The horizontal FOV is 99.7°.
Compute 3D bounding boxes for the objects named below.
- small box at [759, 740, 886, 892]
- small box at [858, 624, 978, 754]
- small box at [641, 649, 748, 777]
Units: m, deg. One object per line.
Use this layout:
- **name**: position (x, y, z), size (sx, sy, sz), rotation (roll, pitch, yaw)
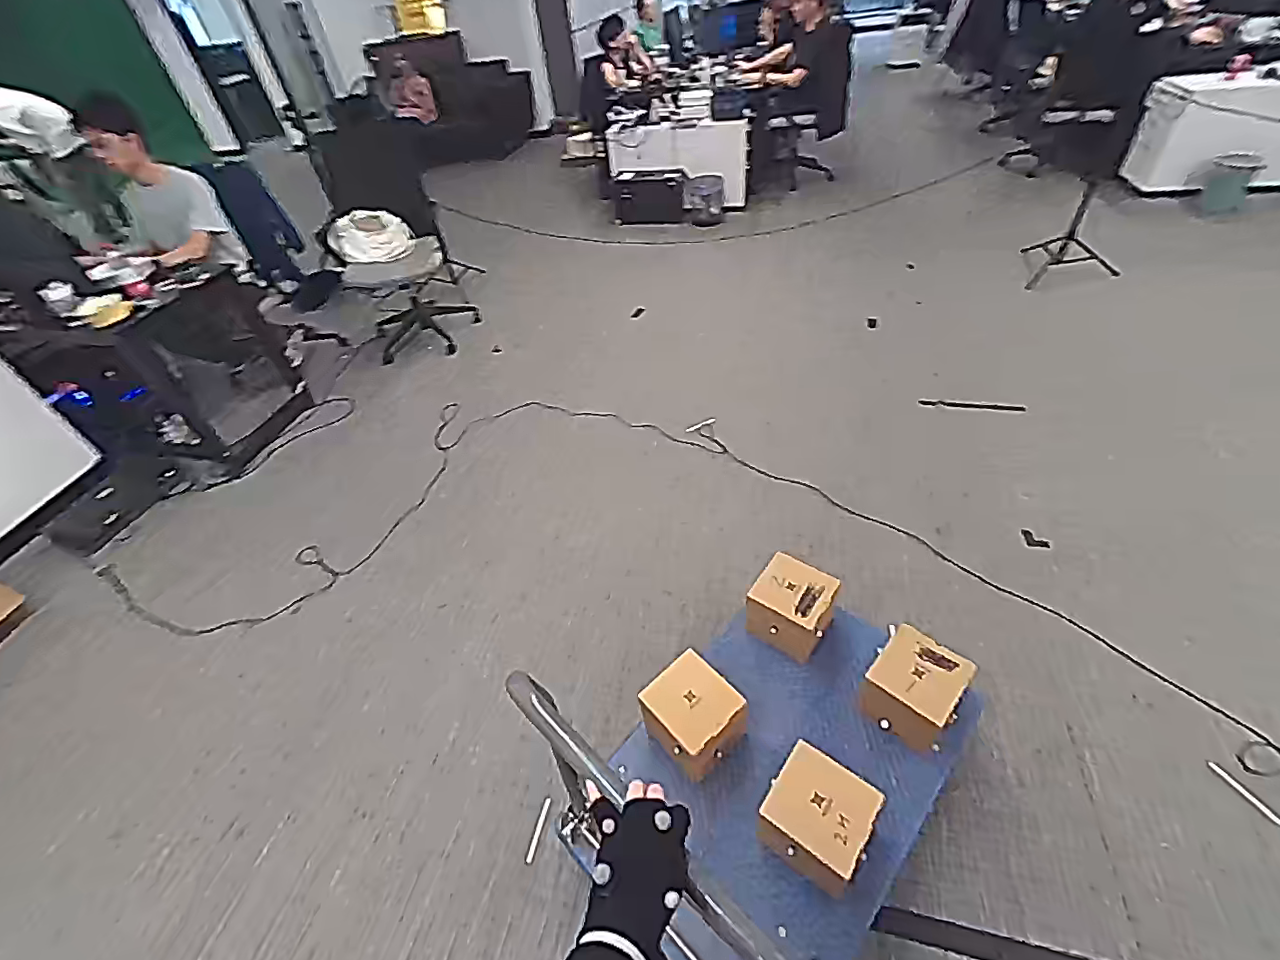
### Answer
- **small box**: position (0.346, 0.656, 1.052), size (0.179, 0.176, 0.168), rotation (26, 54, 31)
- **small box**: position (0.610, 0.466, 1.207), size (0.168, 0.176, 0.179), rotation (32, 58, 34)
- **small box**: position (0.122, 0.528, 1.220), size (0.168, 0.176, 0.179), rotation (-35, 51, -25)
